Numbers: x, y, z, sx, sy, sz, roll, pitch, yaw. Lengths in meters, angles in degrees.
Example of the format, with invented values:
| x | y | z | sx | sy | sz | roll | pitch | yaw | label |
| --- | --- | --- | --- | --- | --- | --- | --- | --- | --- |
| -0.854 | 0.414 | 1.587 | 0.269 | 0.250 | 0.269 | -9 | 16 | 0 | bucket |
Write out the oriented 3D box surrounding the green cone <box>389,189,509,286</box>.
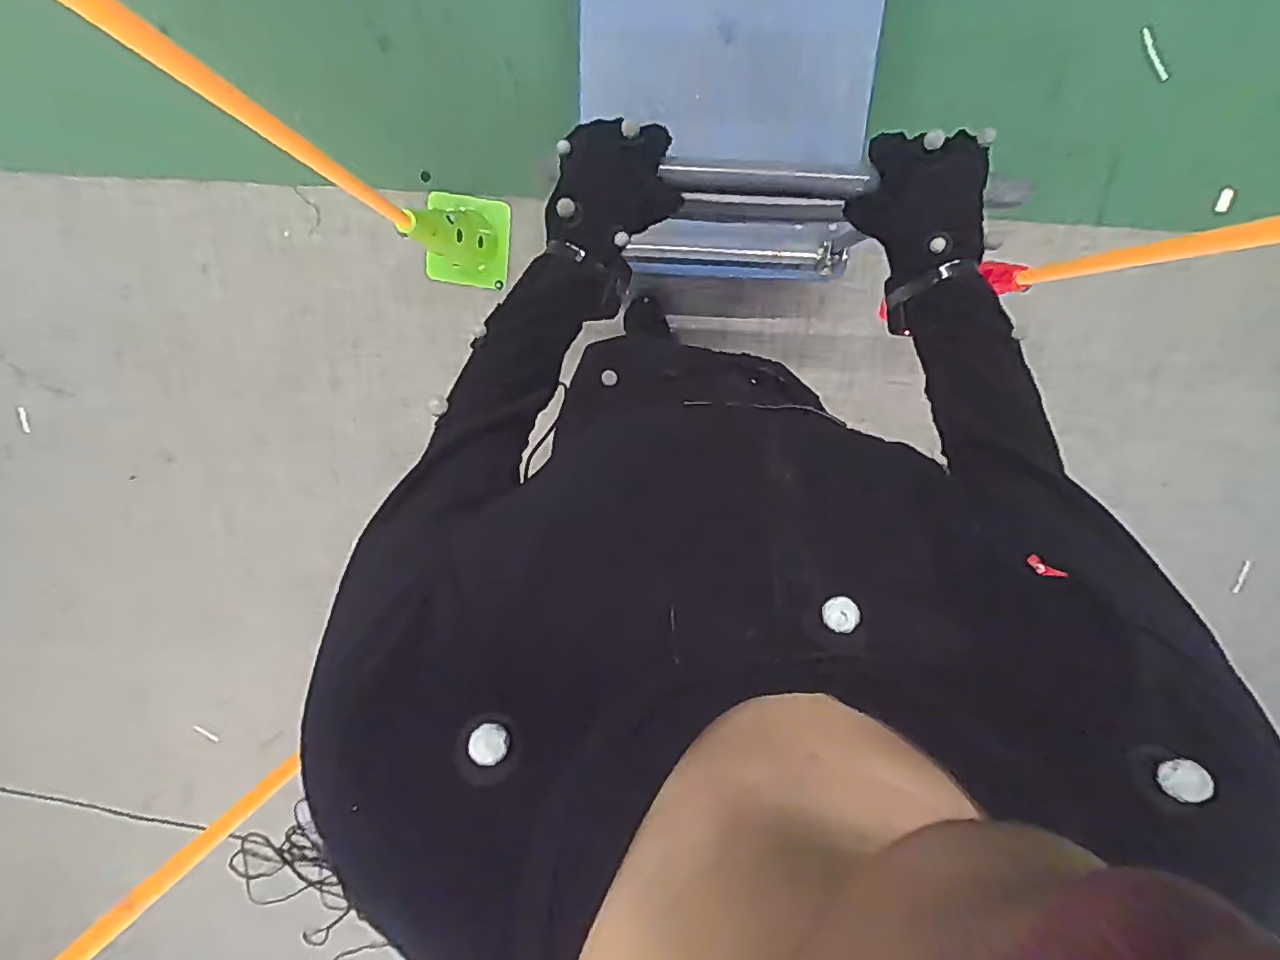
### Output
| x | y | z | sx | sy | sz | roll | pitch | yaw | label |
| --- | --- | --- | --- | --- | --- | --- | --- | --- | --- |
| -0.428 | -0.539 | 1.157 | 0.202 | 0.368 | 0.200 | 8 | 108 | 0 | green cone |
